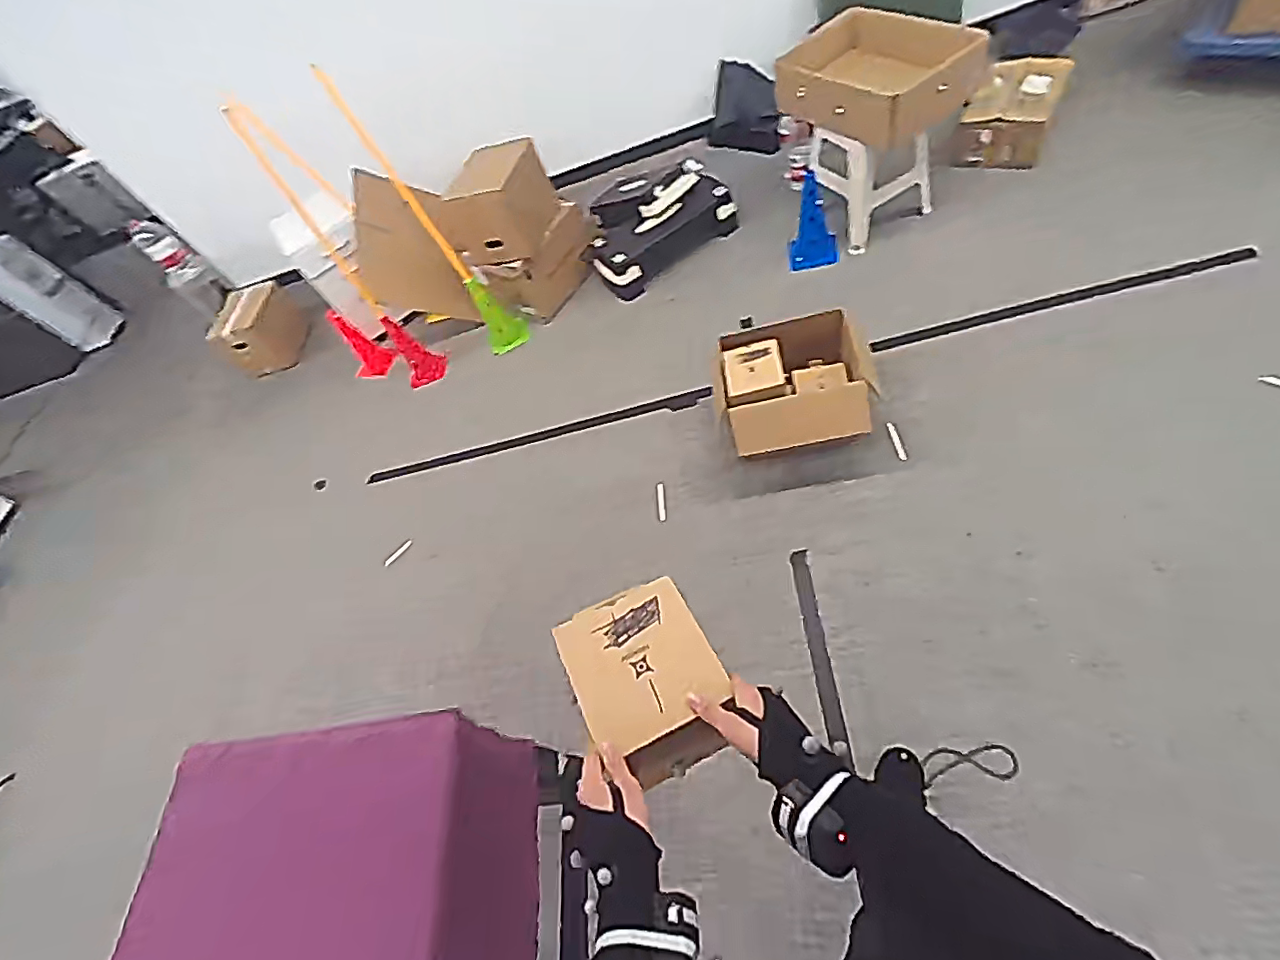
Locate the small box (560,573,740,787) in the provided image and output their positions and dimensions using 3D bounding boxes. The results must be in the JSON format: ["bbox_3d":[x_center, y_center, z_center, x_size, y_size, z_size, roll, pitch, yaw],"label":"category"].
[{"bbox_3d":[0.012,0.259,0.699,0.168,0.176,0.179,-23,49,-11],"label":"small box"}]
